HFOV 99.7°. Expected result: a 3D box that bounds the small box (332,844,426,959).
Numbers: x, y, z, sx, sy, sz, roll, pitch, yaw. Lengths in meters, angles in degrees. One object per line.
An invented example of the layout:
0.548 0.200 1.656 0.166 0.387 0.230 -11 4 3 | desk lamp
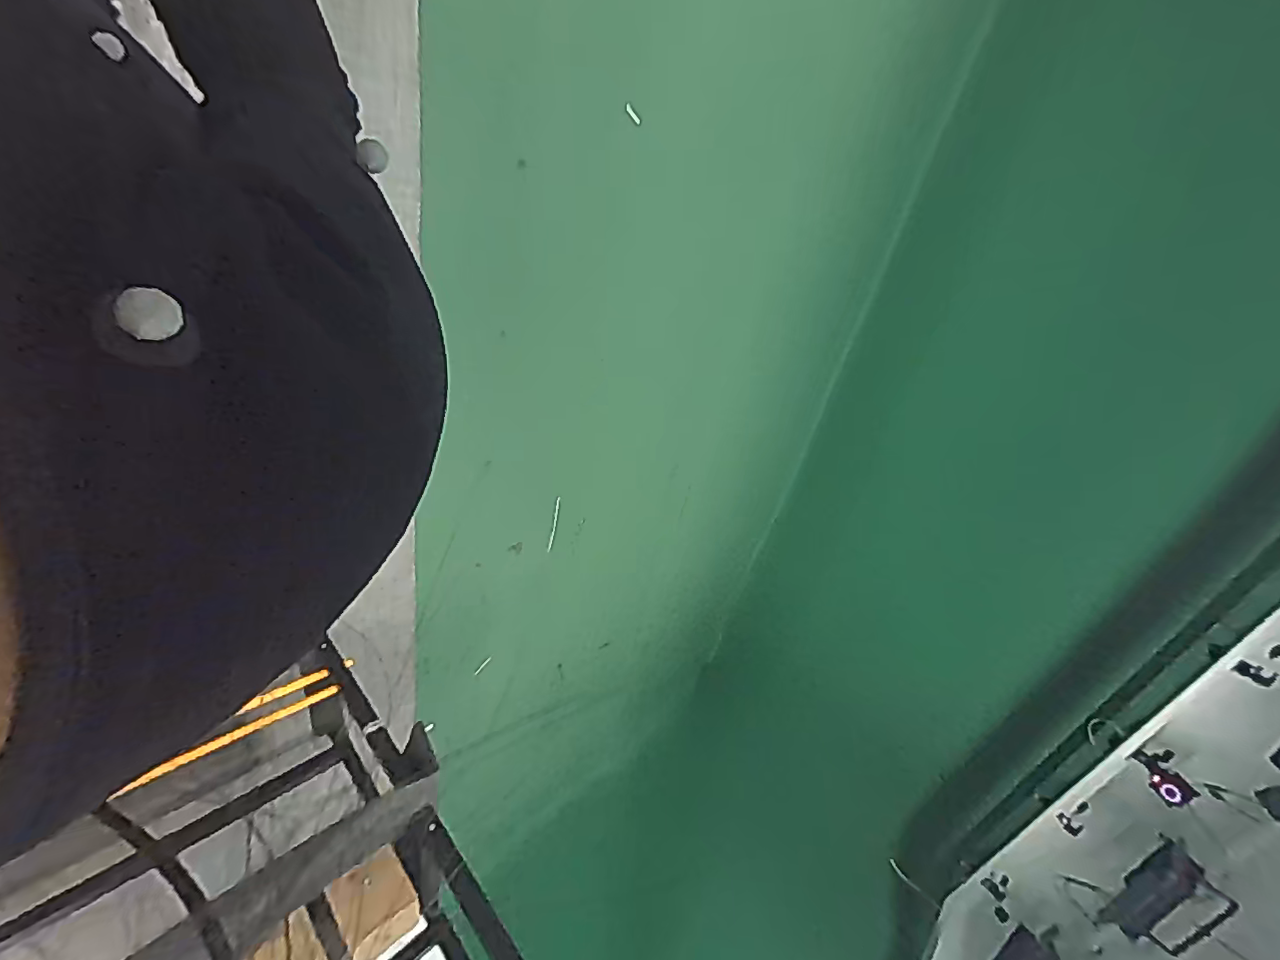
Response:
-0.678 1.103 1.409 0.168 0.176 0.179 -22 136 -42 | small box
